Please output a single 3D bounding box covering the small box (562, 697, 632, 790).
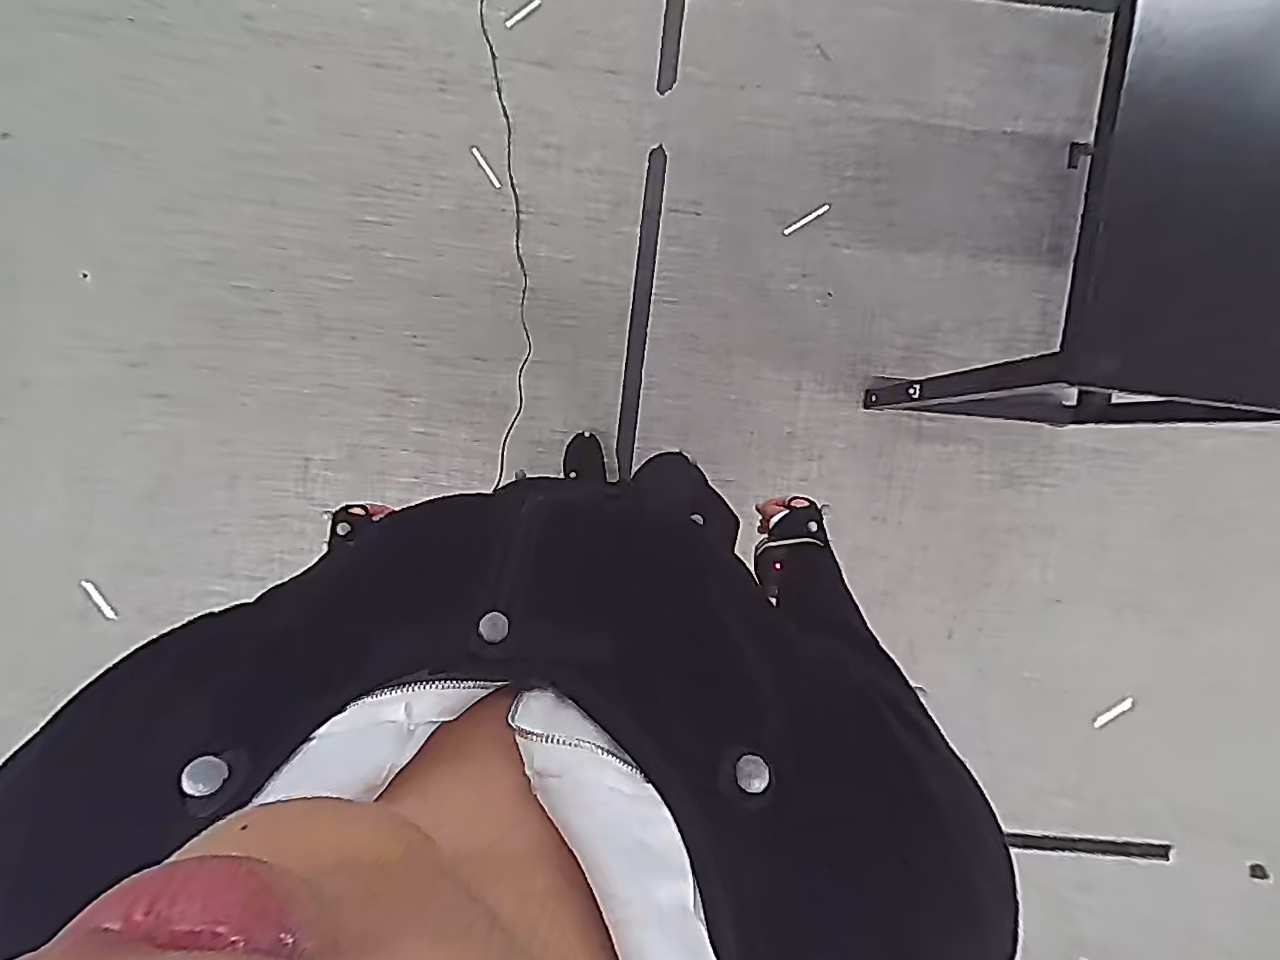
[{"bbox_3d":[-0.117,0.704,1.457,0.179,0.176,0.168,5,95,-2],"label":"small box"}]

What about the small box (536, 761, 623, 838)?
[{"bbox_3d":[-0.124,0.725,1.130,0.168,0.176,0.179,4,94,0],"label":"small box"}]

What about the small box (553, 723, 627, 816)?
[{"bbox_3d":[-0.119,0.714,1.294,0.168,0.176,0.179,4,95,0],"label":"small box"}]
